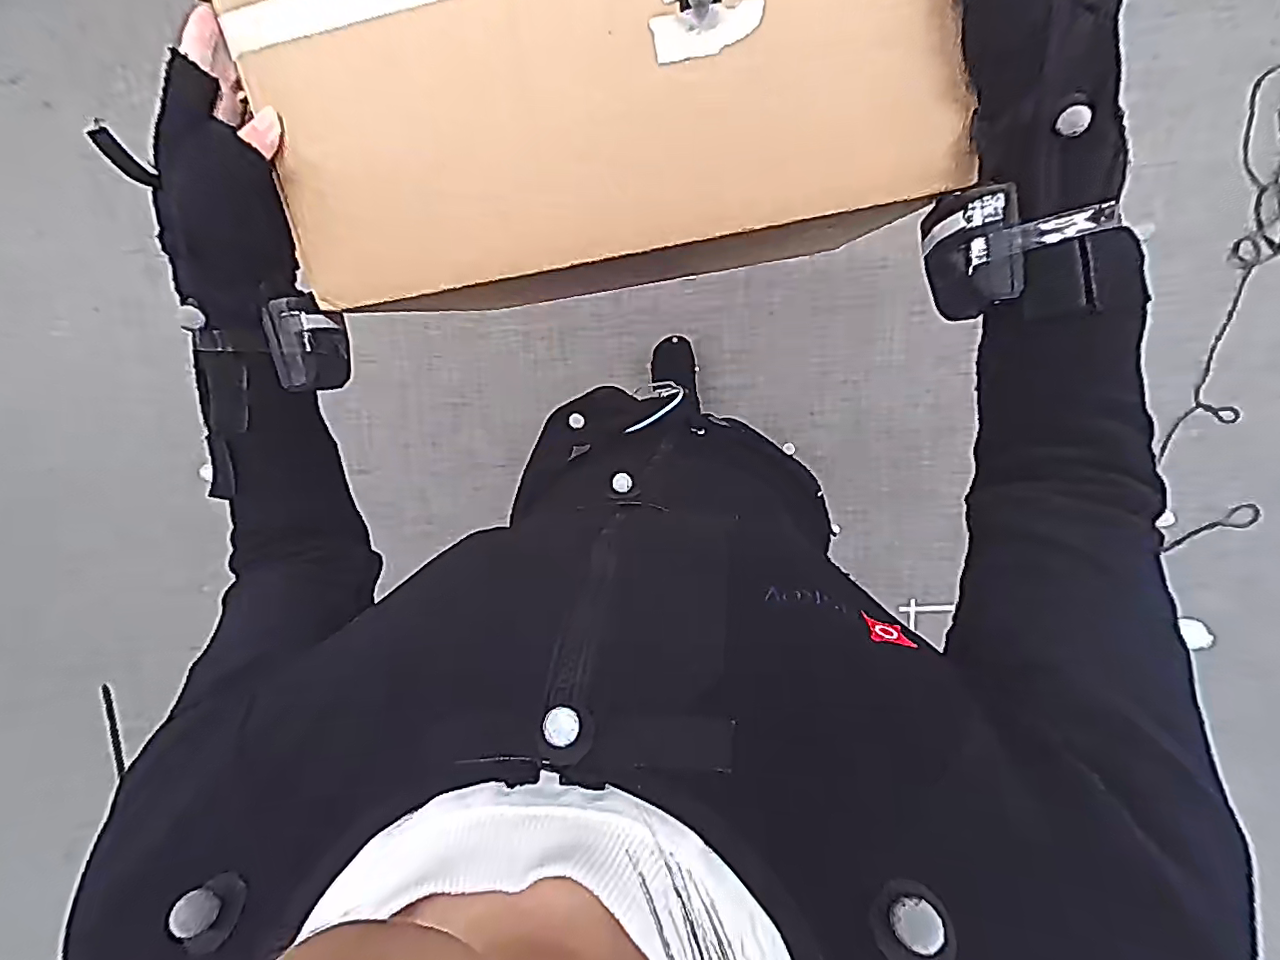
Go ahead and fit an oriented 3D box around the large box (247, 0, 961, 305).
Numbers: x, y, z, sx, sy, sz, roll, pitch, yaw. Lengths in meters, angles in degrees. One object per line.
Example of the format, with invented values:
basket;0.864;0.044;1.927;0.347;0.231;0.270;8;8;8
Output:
large box;-0.025;-0.339;0.439;0.408;0.320;0.320;-8;107;8
